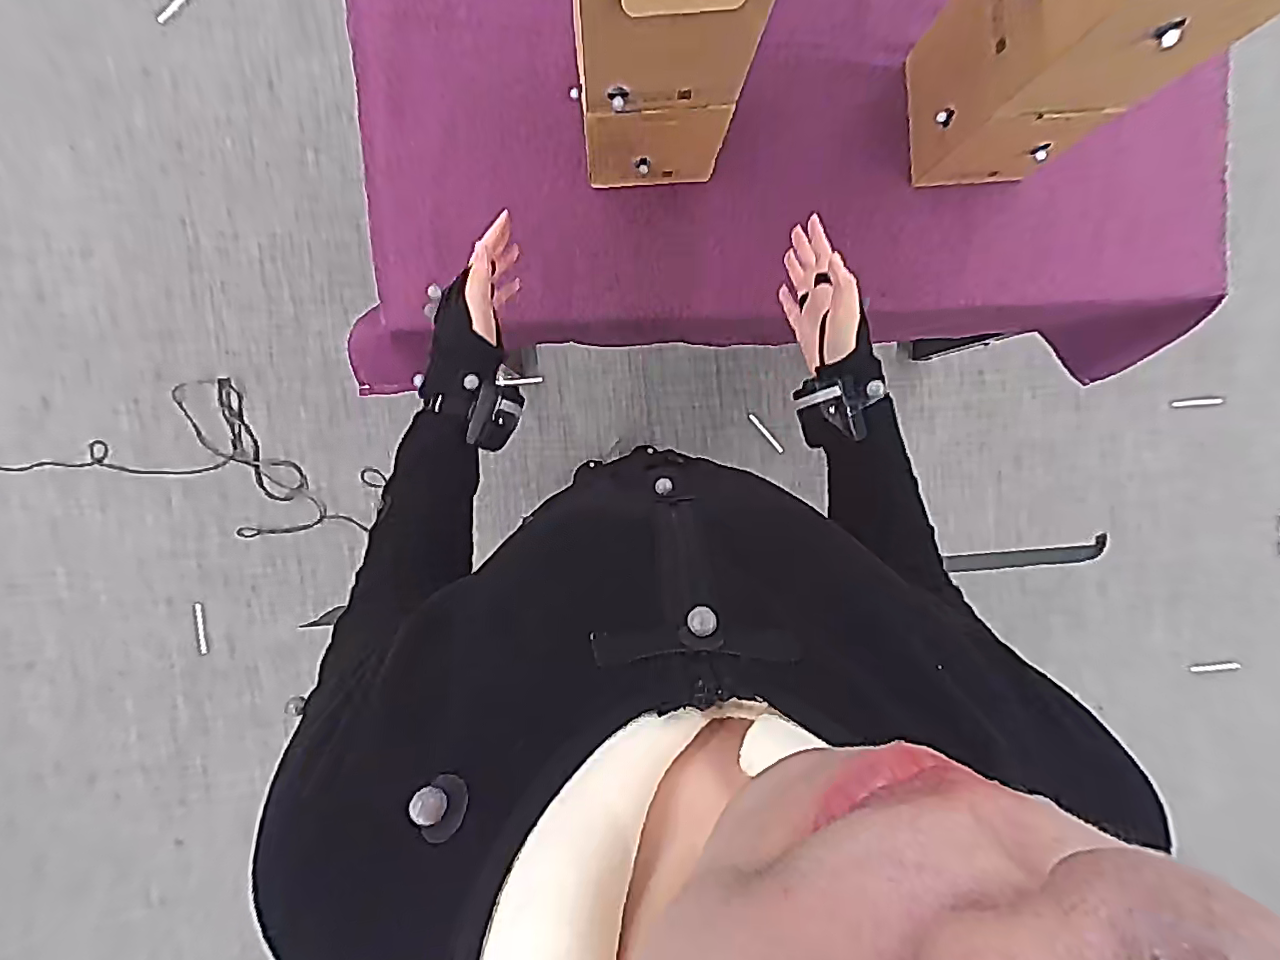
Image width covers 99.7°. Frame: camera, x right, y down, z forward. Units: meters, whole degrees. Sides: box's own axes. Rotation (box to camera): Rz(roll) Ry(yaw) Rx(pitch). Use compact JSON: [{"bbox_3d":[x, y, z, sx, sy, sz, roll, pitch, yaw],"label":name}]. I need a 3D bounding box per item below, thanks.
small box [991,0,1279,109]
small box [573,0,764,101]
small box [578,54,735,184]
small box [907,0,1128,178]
[{"bbox_3d":[0.468,-0.488,0.517,0.179,0.176,0.168,-6,95,-3],"label":"small box"},{"bbox_3d":[0.019,-0.481,0.494,0.168,0.176,0.179,-7,94,-3],"label":"small box"},{"bbox_3d":[0.011,-0.491,0.657,0.168,0.176,0.179,-5,95,-3],"label":"small box"},{"bbox_3d":[0.459,-0.502,0.680,0.168,0.176,0.179,-5,94,-3],"label":"small box"}]
